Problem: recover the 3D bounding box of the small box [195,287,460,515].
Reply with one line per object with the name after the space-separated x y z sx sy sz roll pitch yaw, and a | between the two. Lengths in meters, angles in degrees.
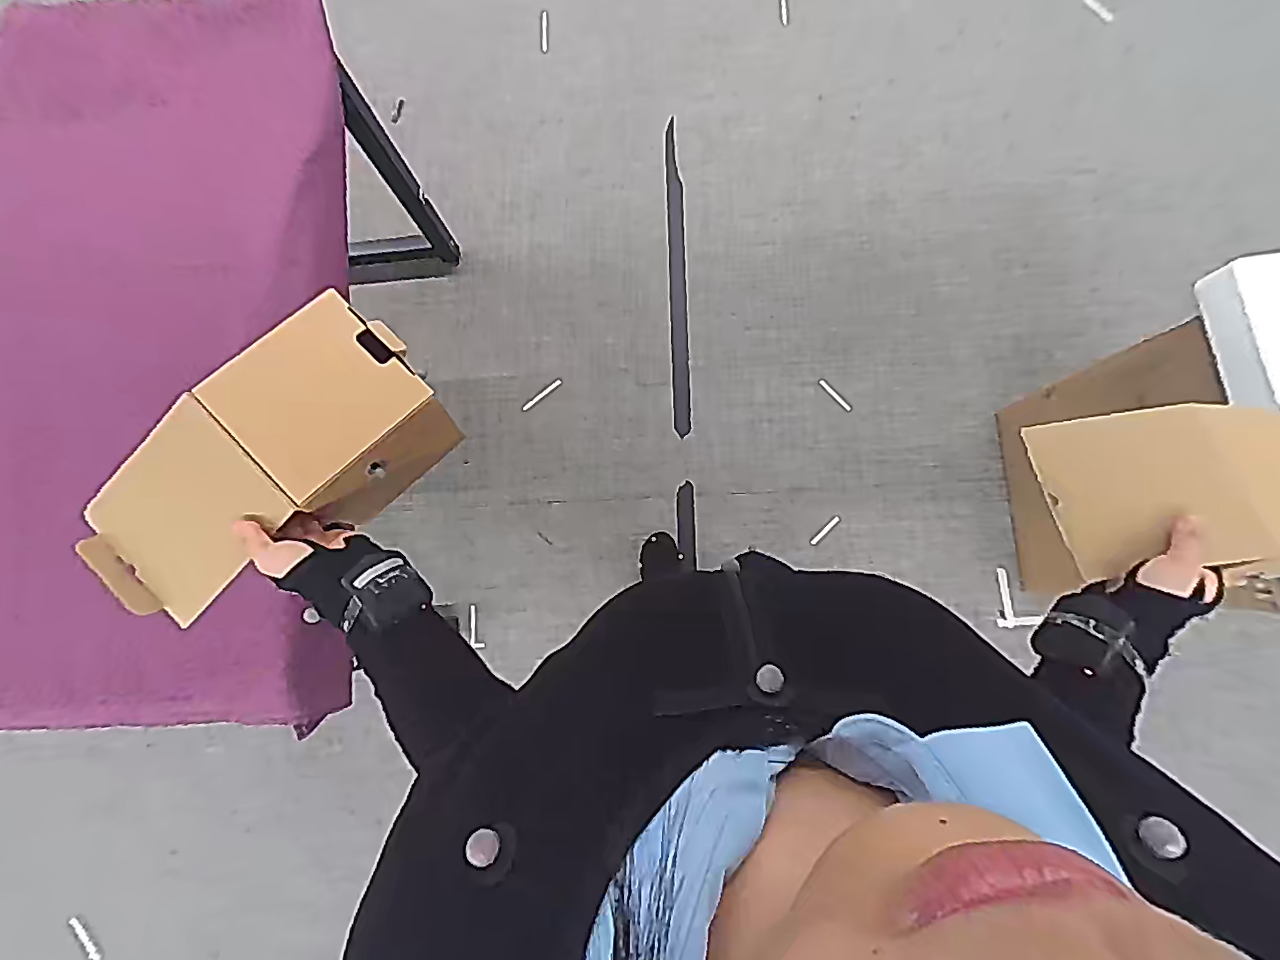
-0.339 -0.077 0.630 0.179 0.176 0.168 -43 88 -12 | small box
